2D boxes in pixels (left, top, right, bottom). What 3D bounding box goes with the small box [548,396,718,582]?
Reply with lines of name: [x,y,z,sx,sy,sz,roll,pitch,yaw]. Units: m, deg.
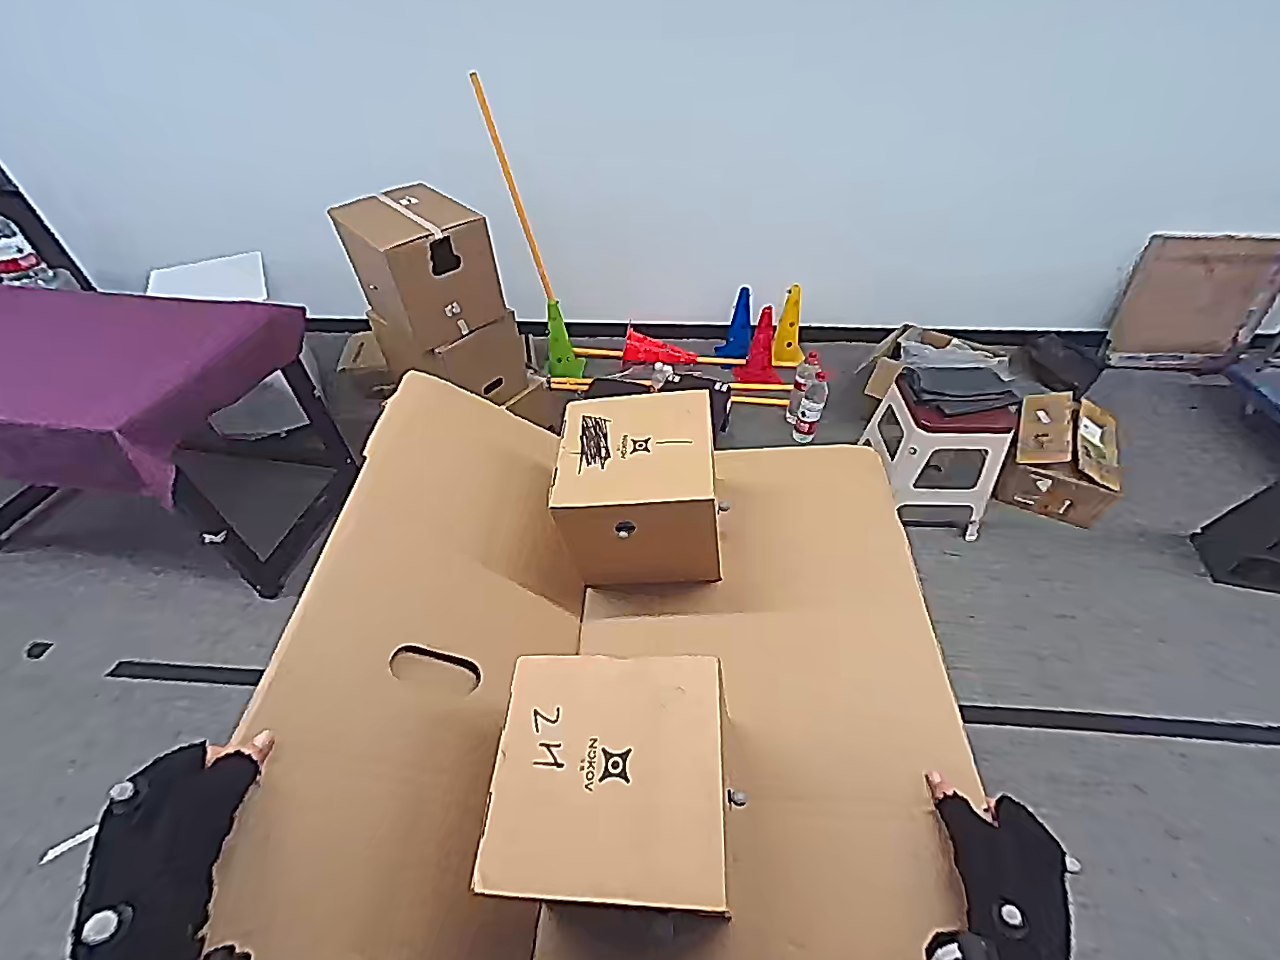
small box: [0.003,0.017,0.675,0.179,0.176,0.168,-3,51,8]

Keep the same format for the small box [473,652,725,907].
small box: [-0.014,0.264,0.475,0.179,0.176,0.168,-3,50,10]
